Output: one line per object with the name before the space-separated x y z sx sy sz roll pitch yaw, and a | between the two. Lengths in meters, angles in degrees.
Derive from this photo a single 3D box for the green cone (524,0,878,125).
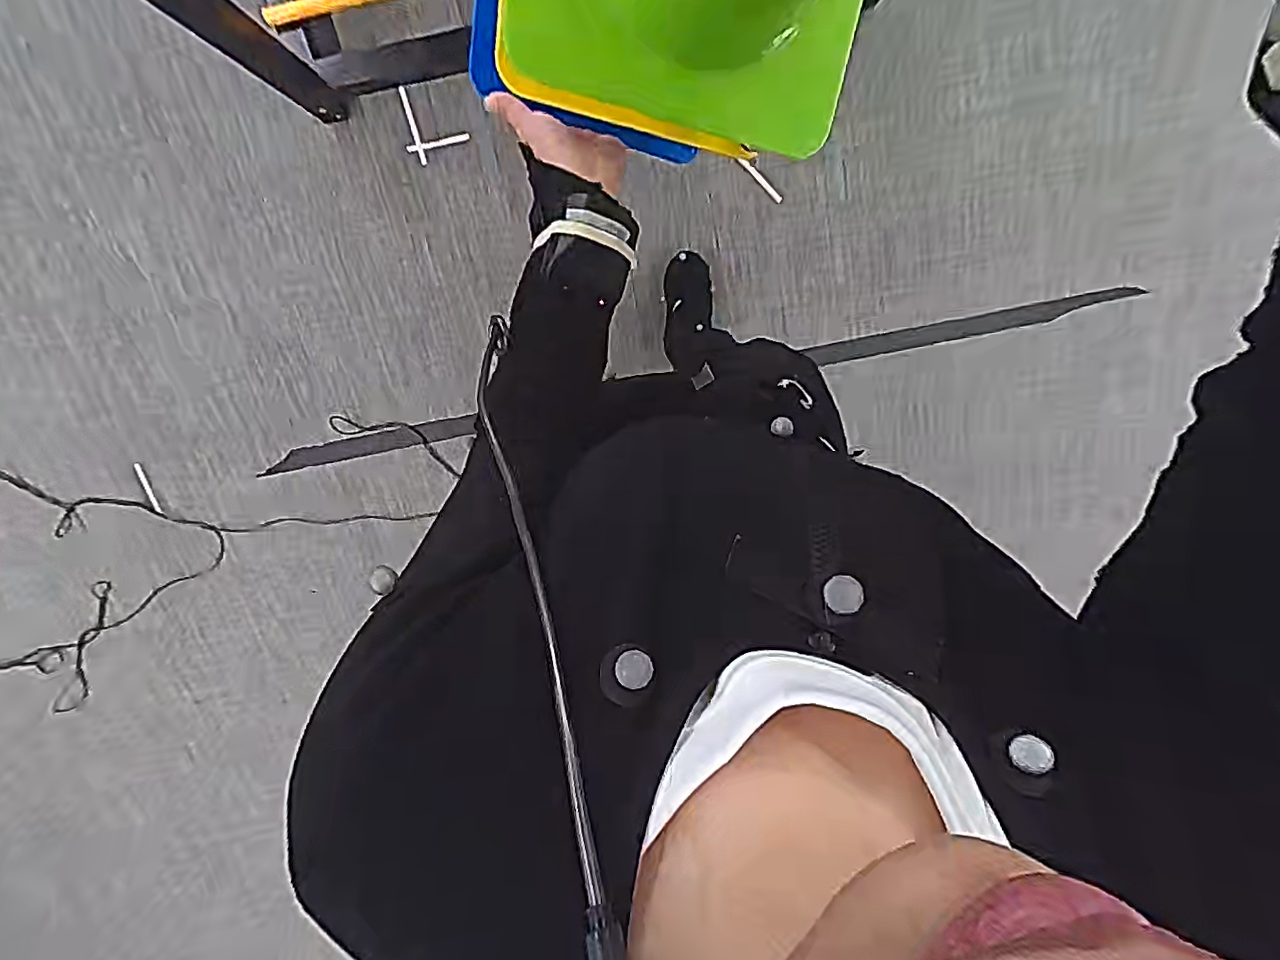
green cone | 0.085 -0.247 0.114 0.200 0.368 0.202 5 110 -16
